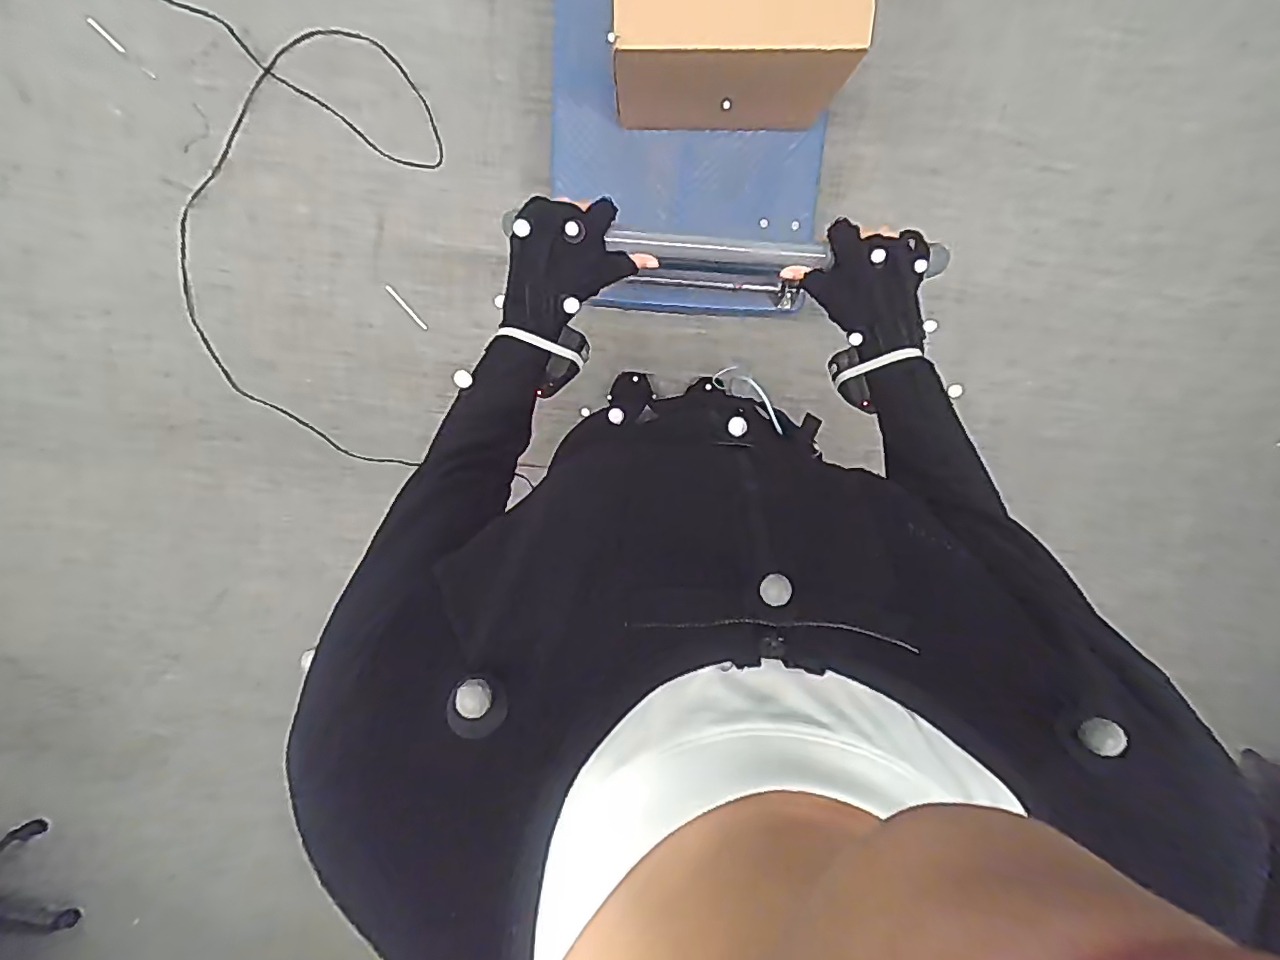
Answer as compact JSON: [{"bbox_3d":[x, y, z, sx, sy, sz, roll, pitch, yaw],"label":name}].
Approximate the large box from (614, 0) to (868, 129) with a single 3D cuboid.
[{"bbox_3d":[0.161,-0.866,0.974,0.408,0.320,0.320,-1,103,1],"label":"large box"}]
